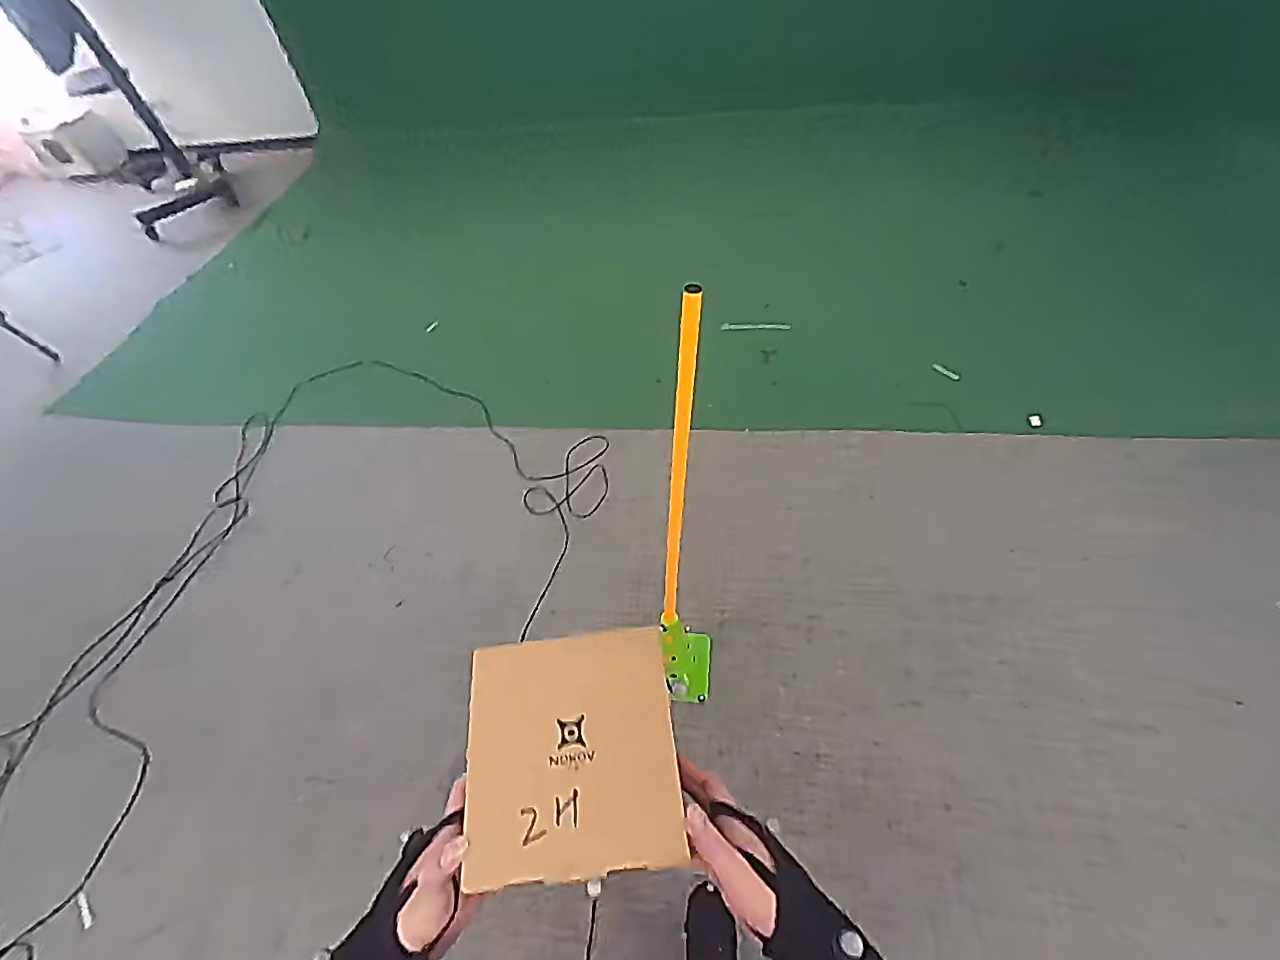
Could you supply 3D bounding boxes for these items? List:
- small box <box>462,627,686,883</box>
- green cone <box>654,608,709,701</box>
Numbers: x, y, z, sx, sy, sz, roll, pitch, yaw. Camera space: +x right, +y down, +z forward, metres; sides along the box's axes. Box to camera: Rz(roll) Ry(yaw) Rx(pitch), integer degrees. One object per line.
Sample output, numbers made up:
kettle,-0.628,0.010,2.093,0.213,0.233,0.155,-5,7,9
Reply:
small box,-0.052,0.256,0.503,0.168,0.176,0.179,-7,56,0
green cone,0.082,0.437,1.460,0.202,0.368,0.200,2,53,9
